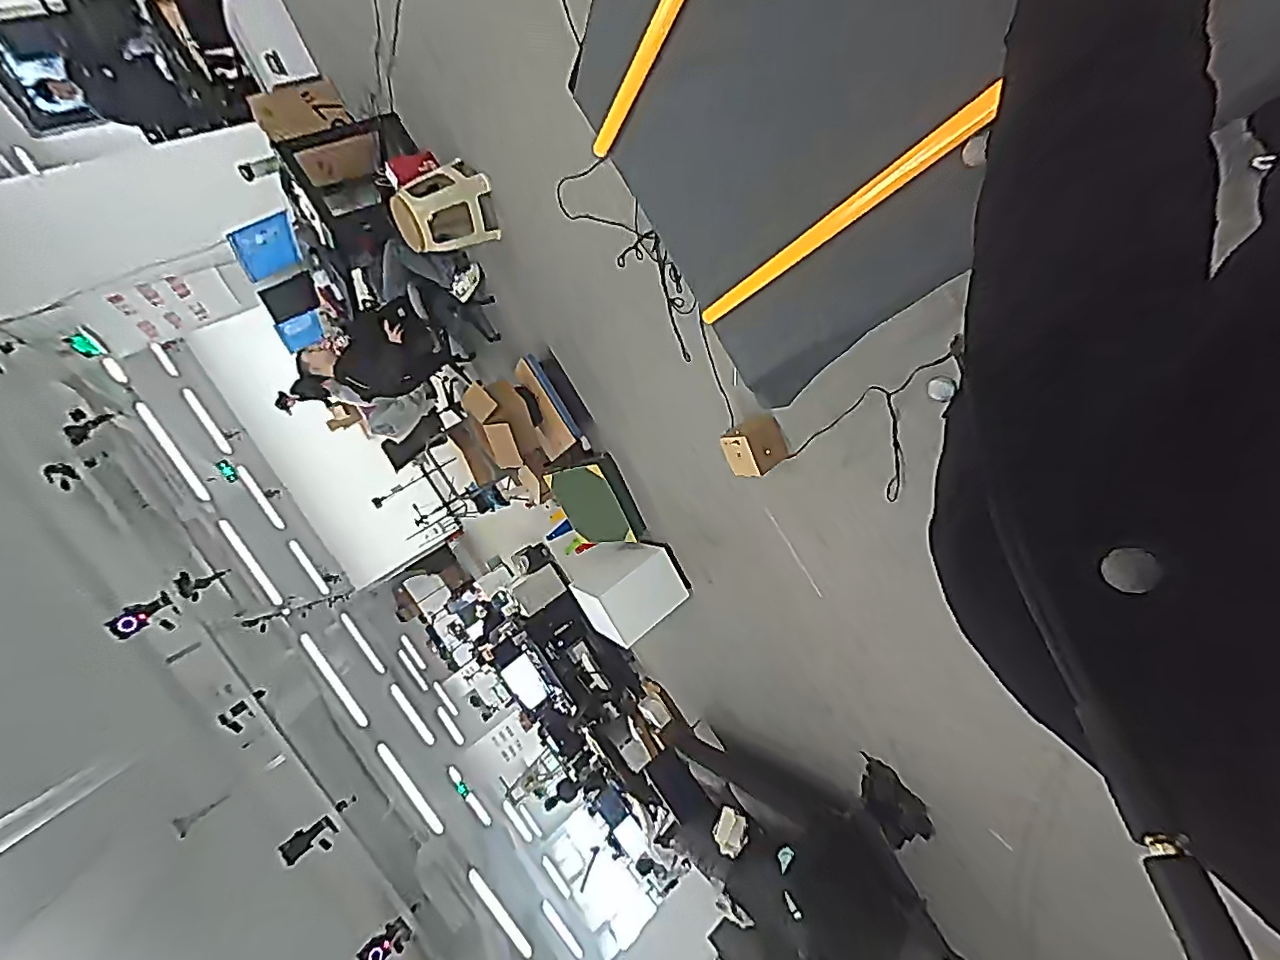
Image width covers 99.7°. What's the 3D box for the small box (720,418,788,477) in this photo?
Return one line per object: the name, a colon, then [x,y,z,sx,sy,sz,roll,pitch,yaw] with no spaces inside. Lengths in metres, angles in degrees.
small box: [0.457,-0.129,2.145,0.168,0.176,0.179,4,124,61]
